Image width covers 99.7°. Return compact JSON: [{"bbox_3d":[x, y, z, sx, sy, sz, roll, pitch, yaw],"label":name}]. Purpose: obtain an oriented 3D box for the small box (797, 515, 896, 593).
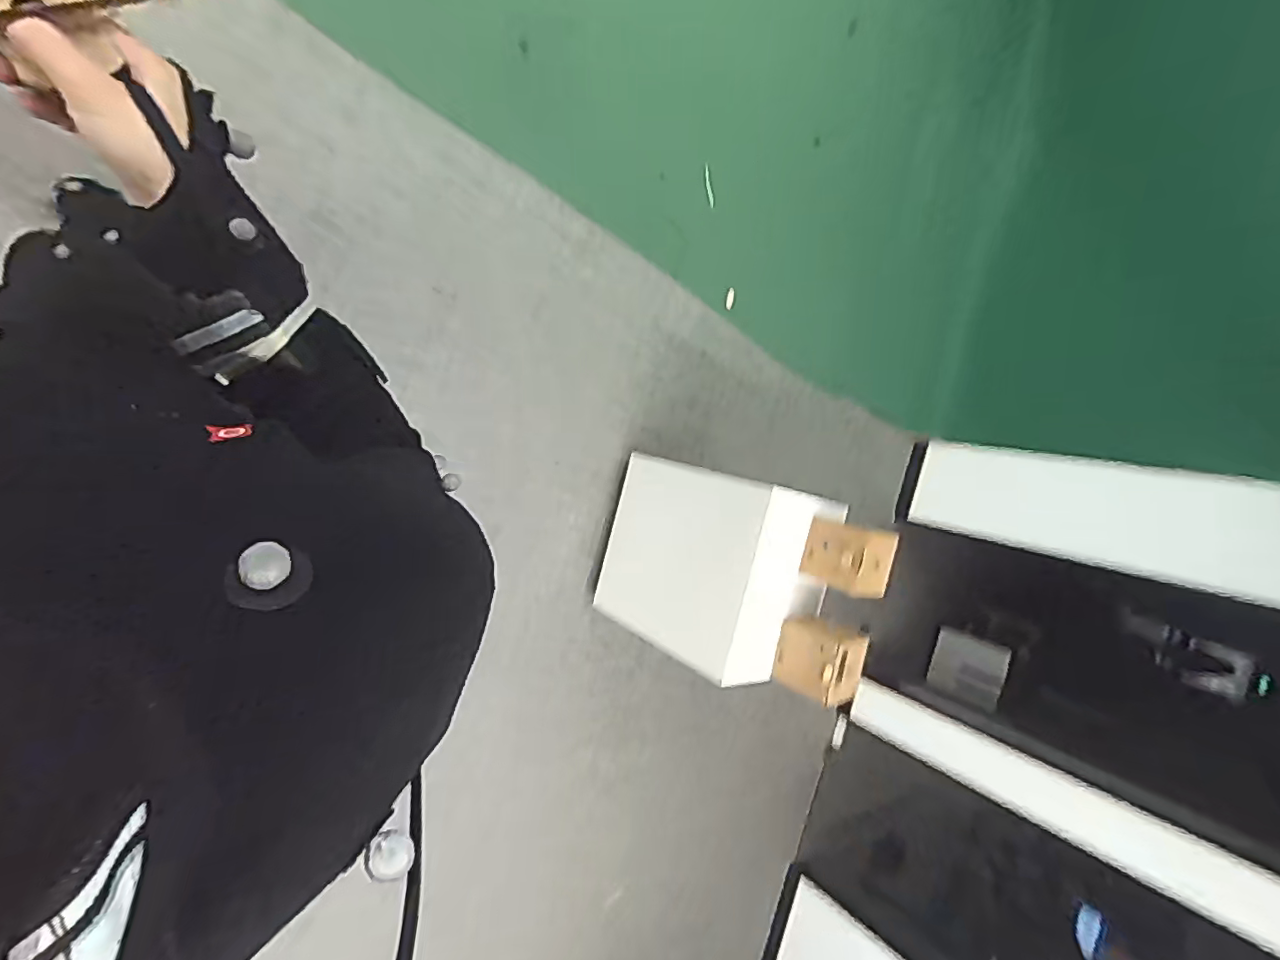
[{"bbox_3d":[0.561,0.199,1.475,0.179,0.176,0.168,11,94,-41],"label":"small box"}]
